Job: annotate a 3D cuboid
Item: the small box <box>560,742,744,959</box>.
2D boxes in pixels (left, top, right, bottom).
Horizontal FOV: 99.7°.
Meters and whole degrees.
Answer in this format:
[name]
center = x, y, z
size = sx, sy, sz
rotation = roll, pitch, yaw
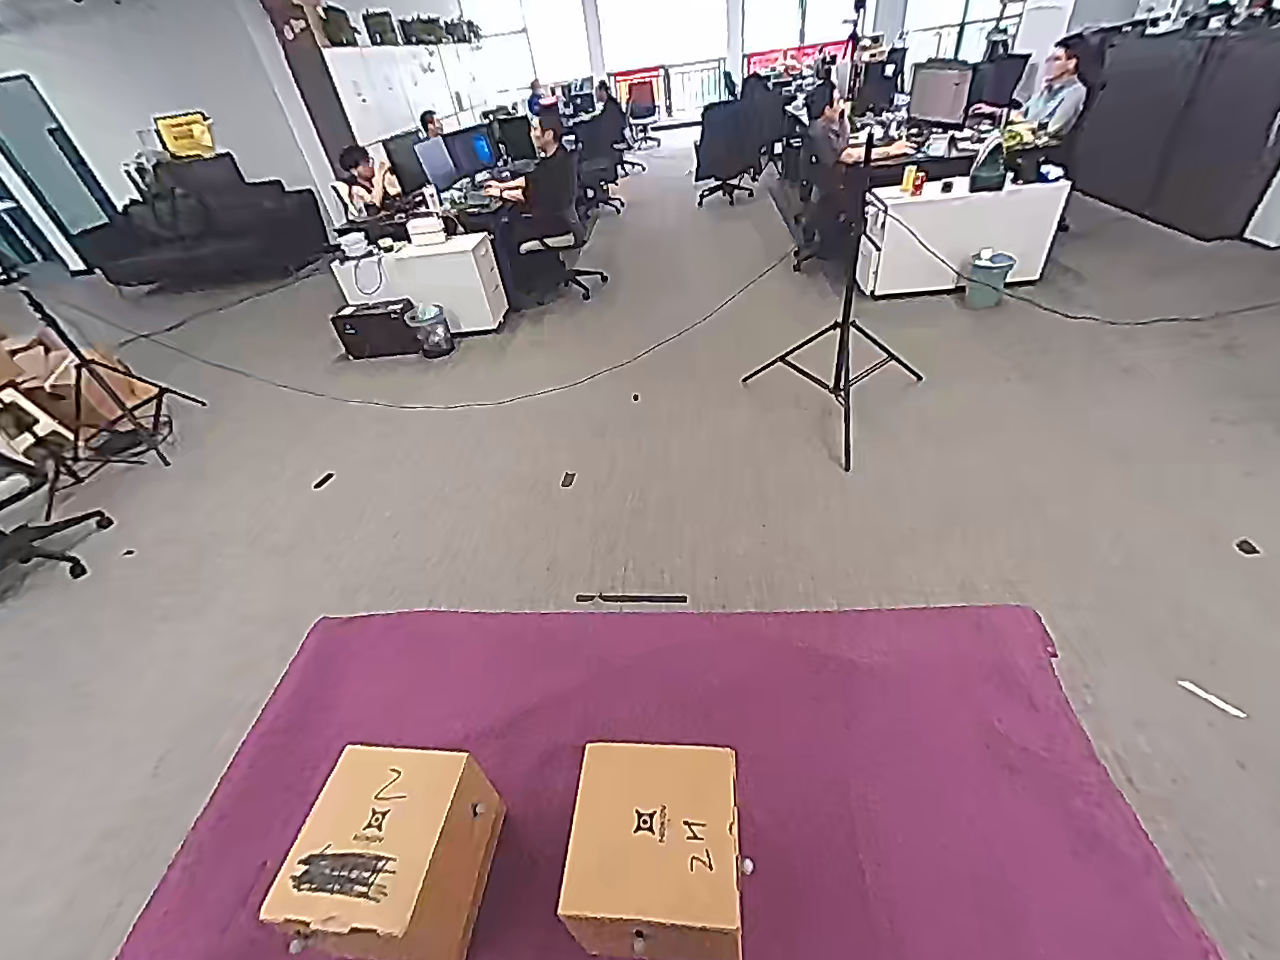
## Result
[small box]
center = 0.026, 0.421, 0.613
size = 0.179, 0.176, 0.168
rotation = -1, 39, 9
